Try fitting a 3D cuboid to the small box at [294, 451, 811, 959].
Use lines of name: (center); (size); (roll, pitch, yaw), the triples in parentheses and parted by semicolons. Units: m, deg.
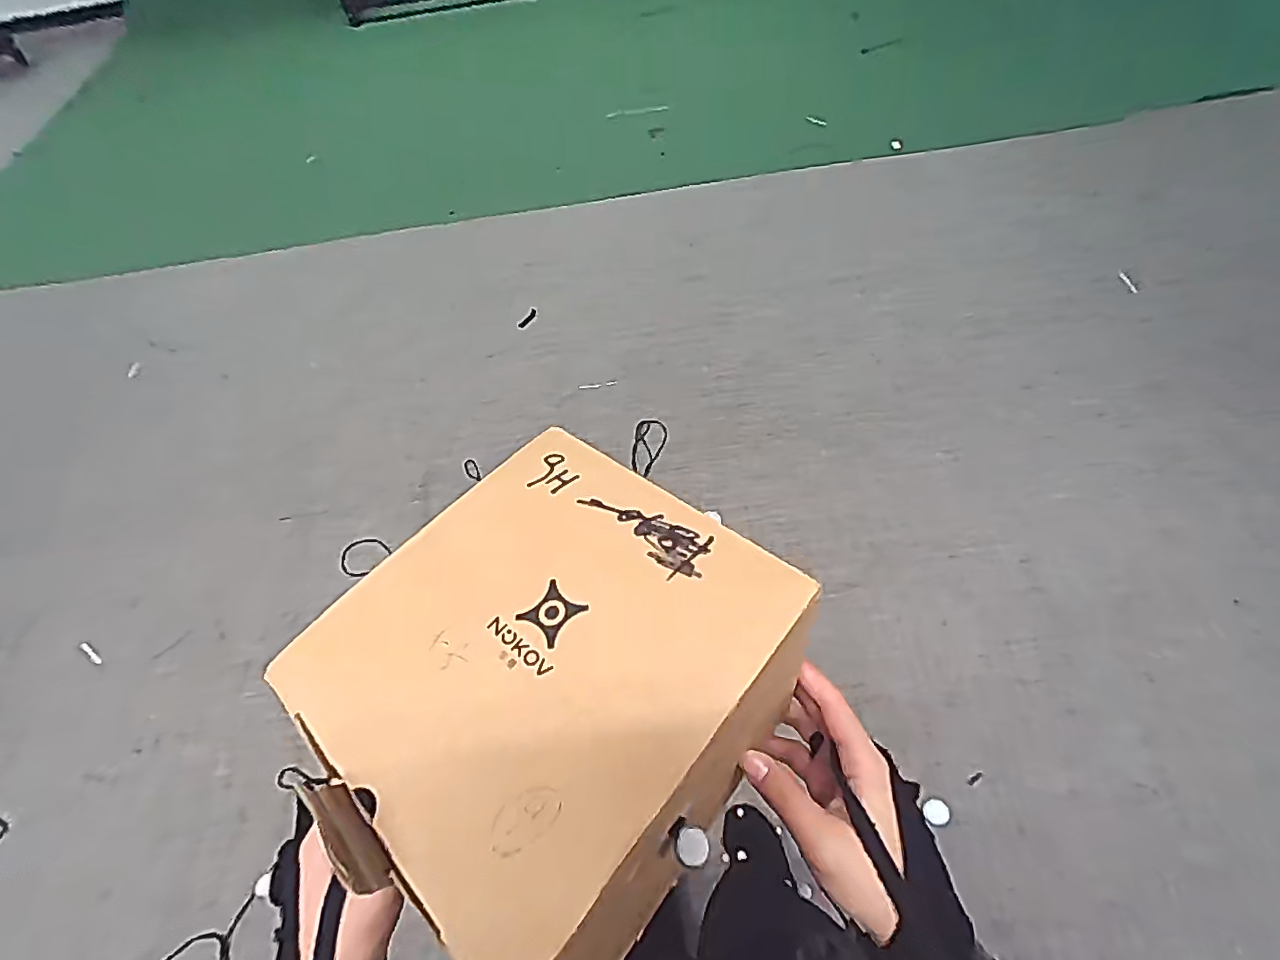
small box: (-0.028, 0.124, 0.295); (0.168, 0.176, 0.179); (31, 63, 29)
